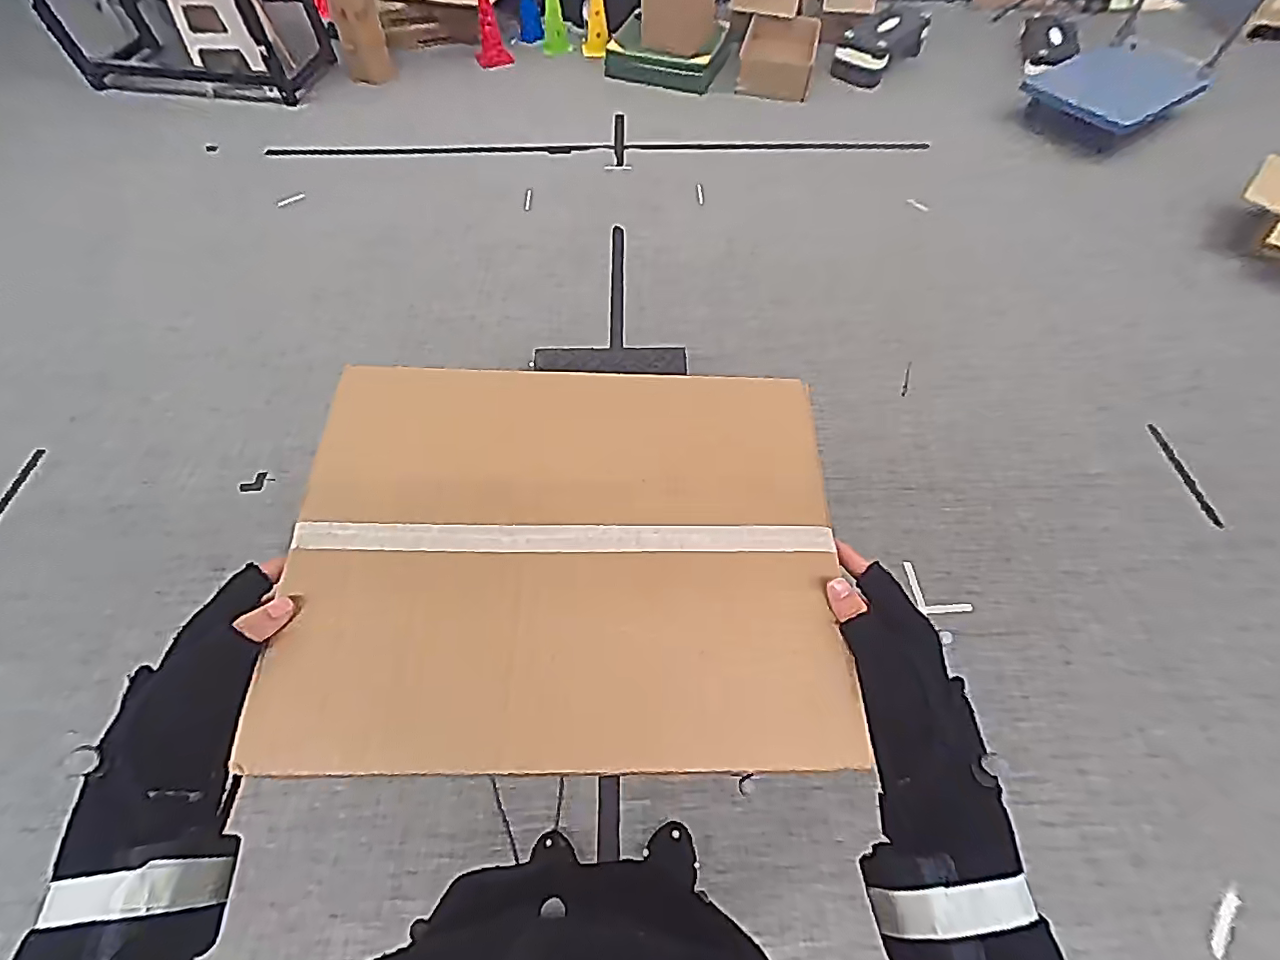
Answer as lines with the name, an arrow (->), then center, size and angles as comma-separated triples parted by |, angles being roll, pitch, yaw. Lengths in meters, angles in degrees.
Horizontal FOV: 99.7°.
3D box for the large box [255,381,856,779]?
large box -> -0.059, 0.117, 0.554 | 0.408, 0.320, 0.320 | 2, 63, -4
